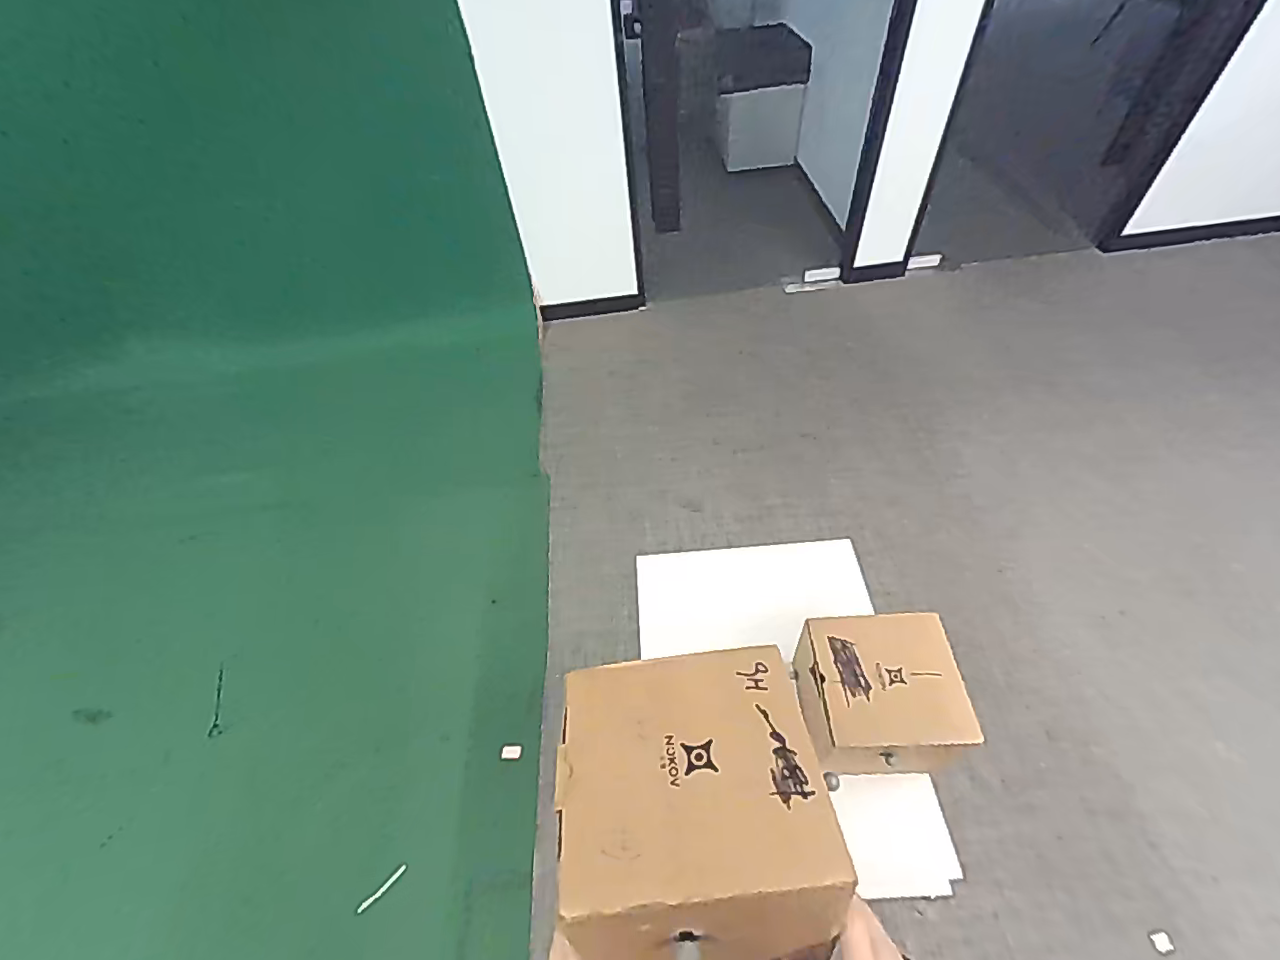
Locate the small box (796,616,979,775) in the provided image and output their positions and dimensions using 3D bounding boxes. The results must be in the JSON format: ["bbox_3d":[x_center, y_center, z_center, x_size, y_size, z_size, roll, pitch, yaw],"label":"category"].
[{"bbox_3d":[0.321,0.302,0.750,0.179,0.176,0.168,-3,51,3],"label":"small box"}]

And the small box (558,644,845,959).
[{"bbox_3d":[0.041,0.258,0.427,0.179,0.176,0.168,-7,36,0],"label":"small box"}]
